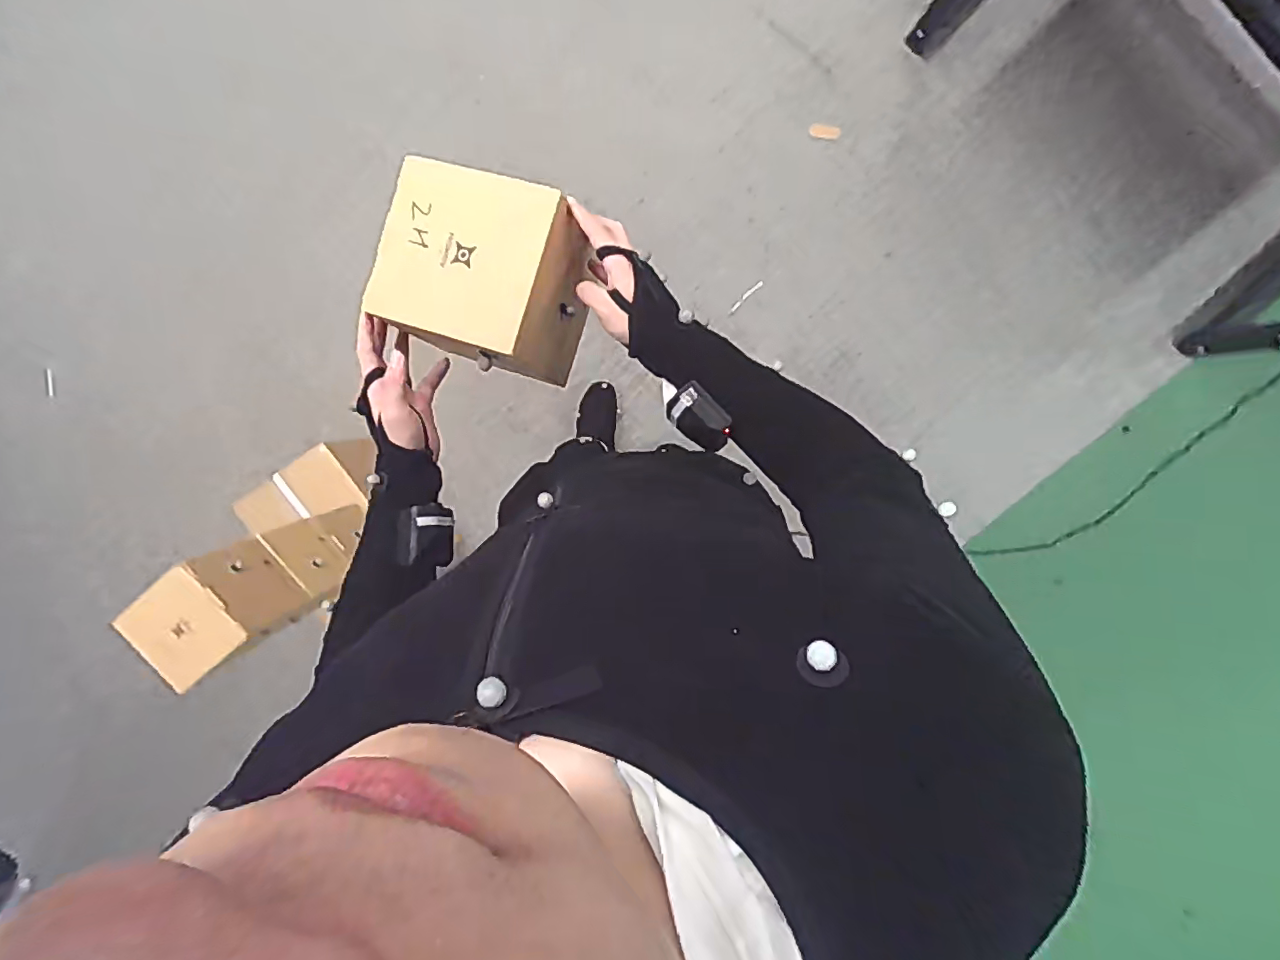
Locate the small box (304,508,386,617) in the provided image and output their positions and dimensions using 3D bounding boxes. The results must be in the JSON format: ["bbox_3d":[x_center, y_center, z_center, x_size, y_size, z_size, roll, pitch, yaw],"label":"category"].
[{"bbox_3d":[-0.744,0.187,1.295,0.179,0.176,0.168,-37,96,6],"label":"small box"}]

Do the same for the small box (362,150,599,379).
[{"bbox_3d":[-0.162,-0.223,0.606,0.179,0.176,0.168,19,91,10],"label":"small box"}]

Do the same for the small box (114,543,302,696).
[{"bbox_3d":[-0.757,0.239,0.974,0.179,0.176,0.168,-39,95,8],"label":"small box"}]

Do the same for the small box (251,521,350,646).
[{"bbox_3d":[-0.749,0.209,1.134,0.179,0.176,0.168,-38,96,7],"label":"small box"}]
